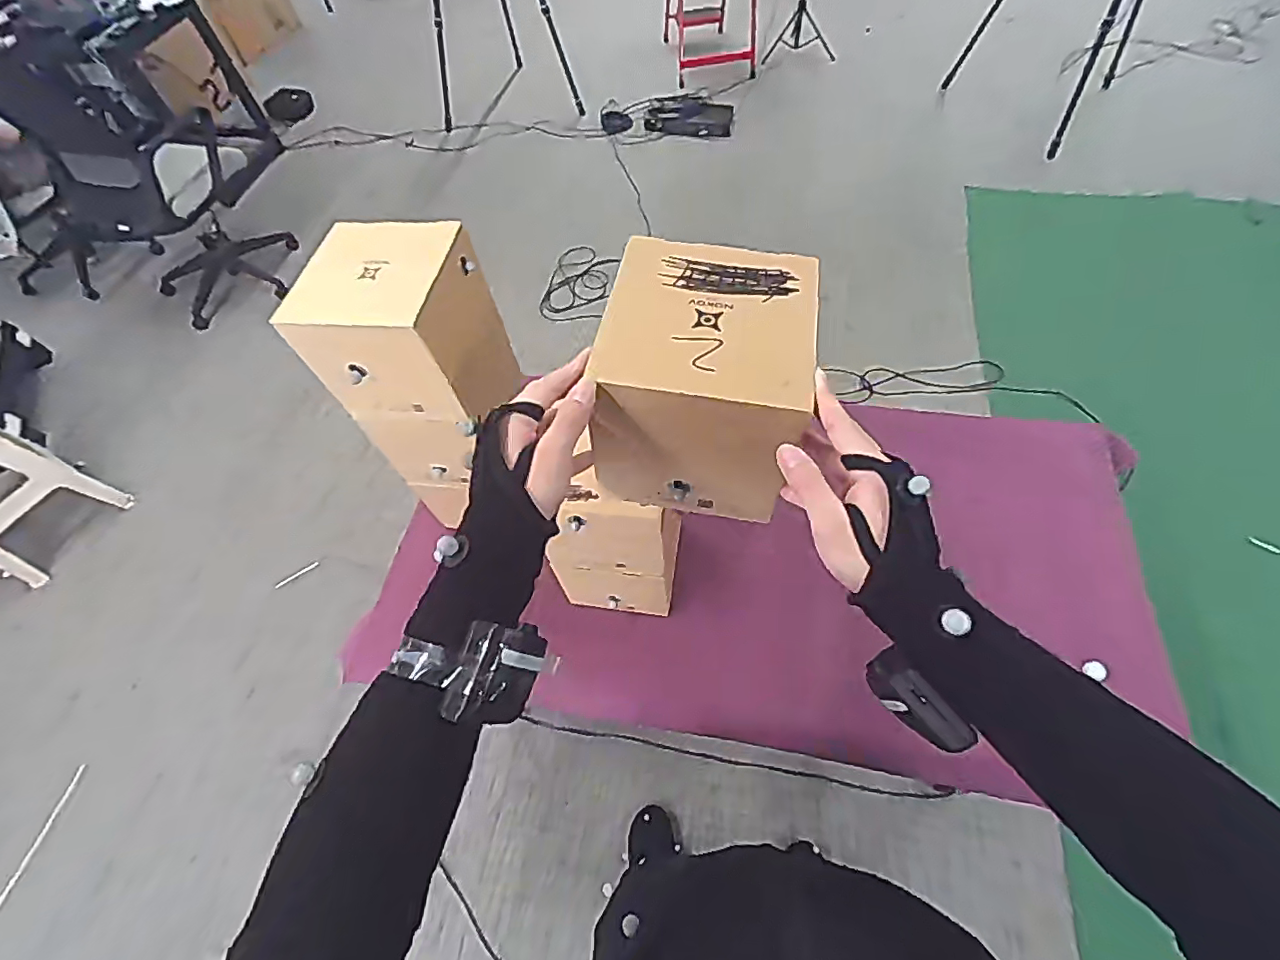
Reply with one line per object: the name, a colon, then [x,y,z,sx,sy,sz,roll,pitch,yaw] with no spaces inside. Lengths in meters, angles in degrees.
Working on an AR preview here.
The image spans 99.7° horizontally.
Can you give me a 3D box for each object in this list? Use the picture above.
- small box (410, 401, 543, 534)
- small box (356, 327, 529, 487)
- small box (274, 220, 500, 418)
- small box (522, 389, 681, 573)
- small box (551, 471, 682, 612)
small box: [-0.265,-0.025,0.948,0.168,0.176,0.179,5,60,8]
small box: [-0.277,-0.110,0.809,0.168,0.176,0.179,4,60,8]
small box: [-0.290,-0.193,0.670,0.168,0.176,0.179,4,59,8]
small box: [-0.038,0.004,0.718,0.168,0.176,0.179,5,59,9]
small box: [-0.027,0.090,0.857,0.168,0.176,0.179,6,60,9]
